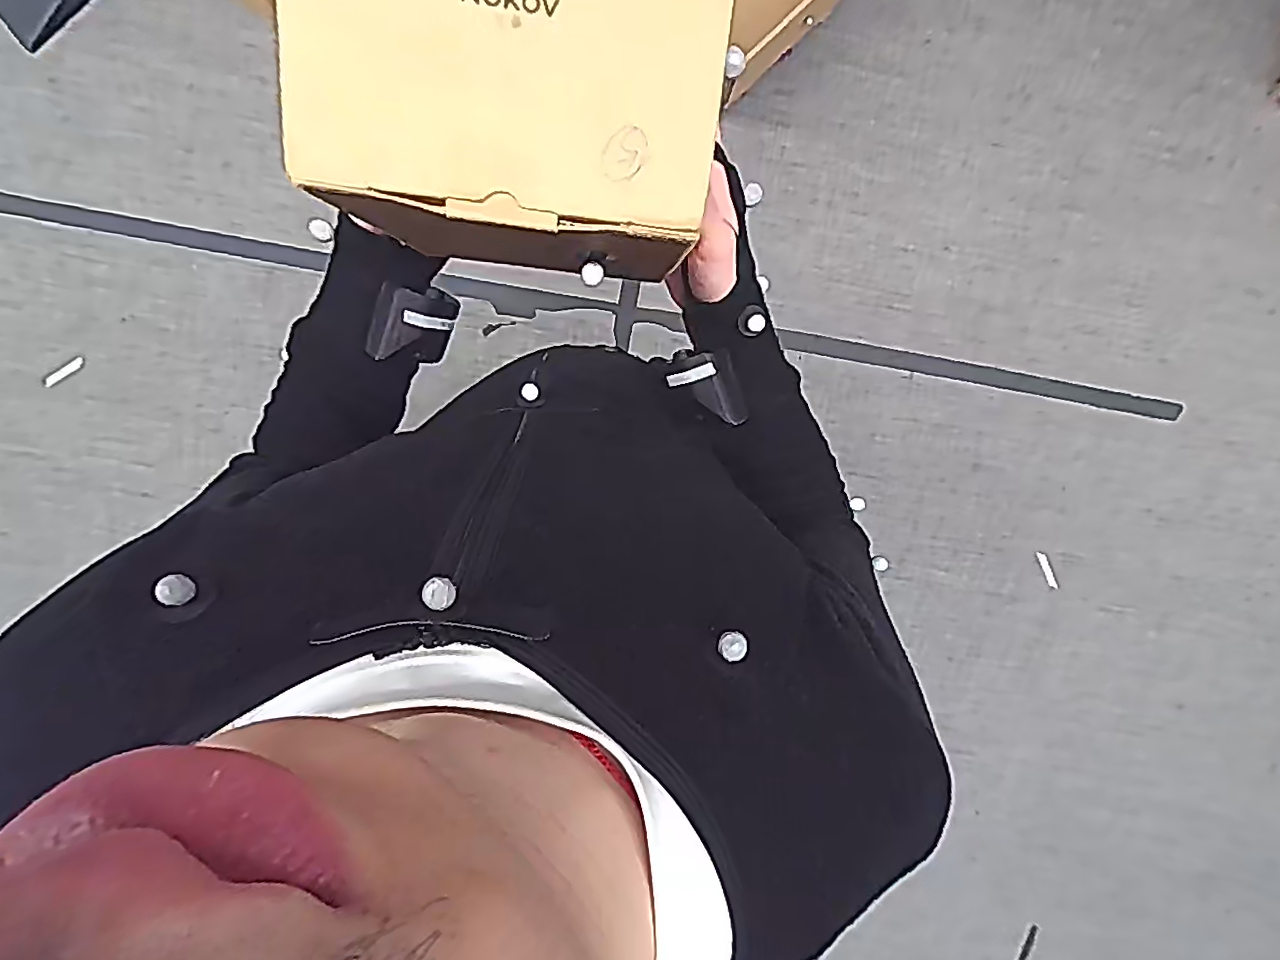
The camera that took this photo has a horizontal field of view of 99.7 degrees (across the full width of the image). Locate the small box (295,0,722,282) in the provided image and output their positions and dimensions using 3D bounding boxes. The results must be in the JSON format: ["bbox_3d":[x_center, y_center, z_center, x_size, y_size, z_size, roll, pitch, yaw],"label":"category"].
[{"bbox_3d":[-0.053,-0.211,0.287,0.168,0.176,0.179,5,103,-6],"label":"small box"}]
